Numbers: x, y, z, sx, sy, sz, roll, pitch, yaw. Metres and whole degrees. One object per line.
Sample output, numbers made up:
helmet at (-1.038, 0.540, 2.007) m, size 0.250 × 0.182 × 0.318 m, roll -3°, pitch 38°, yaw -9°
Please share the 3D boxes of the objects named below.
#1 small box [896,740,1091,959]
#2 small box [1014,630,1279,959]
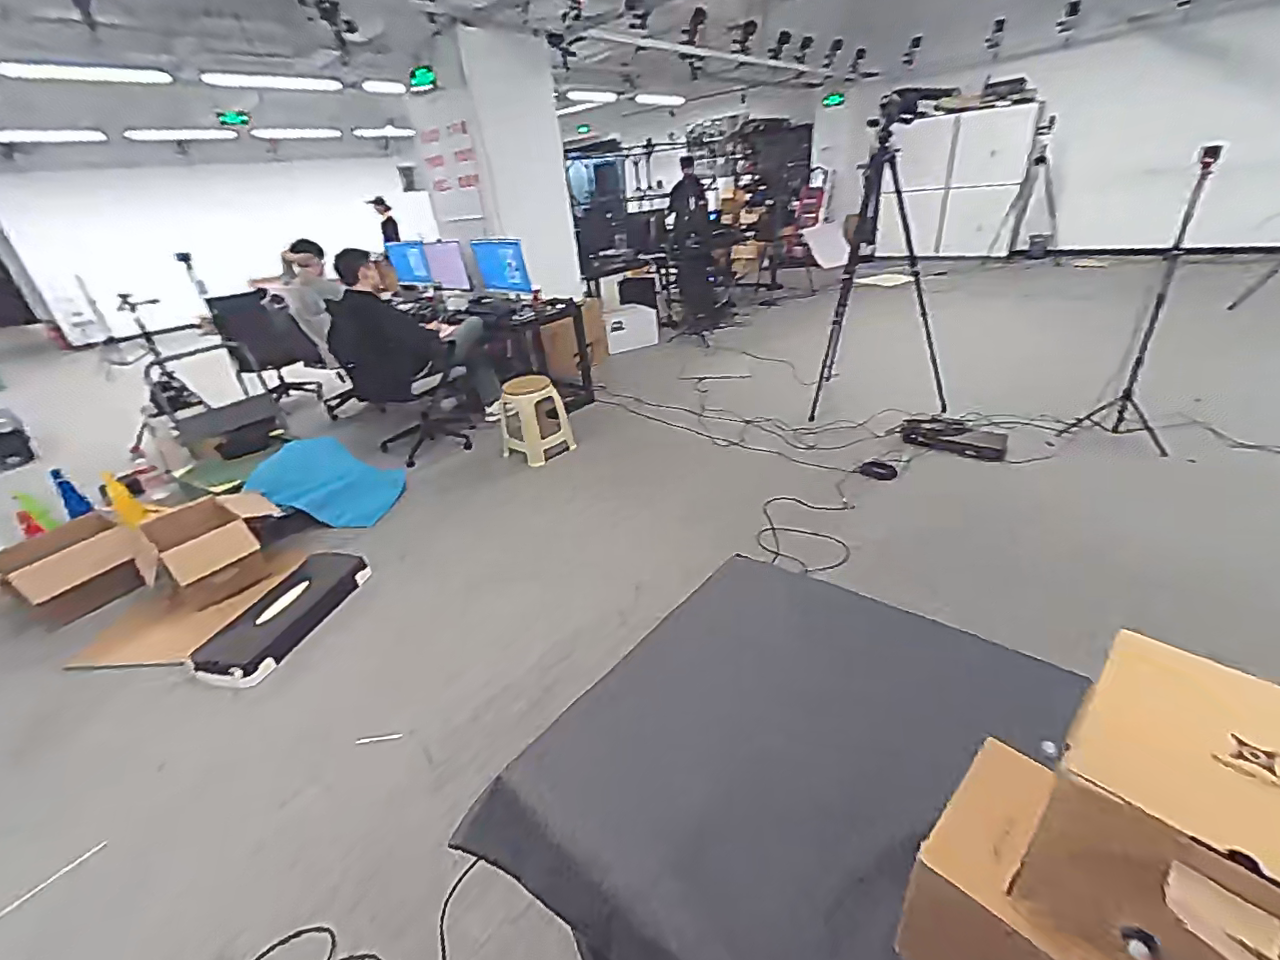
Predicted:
small box at (0.356, 0.387, 0.480) m, size 0.168 × 0.176 × 0.179 m, roll -26°, pitch 33°, yaw -34°
small box at (0.397, 0.250, 0.383) m, size 0.179 × 0.176 × 0.168 m, roll -28°, pitch 36°, yaw -35°
